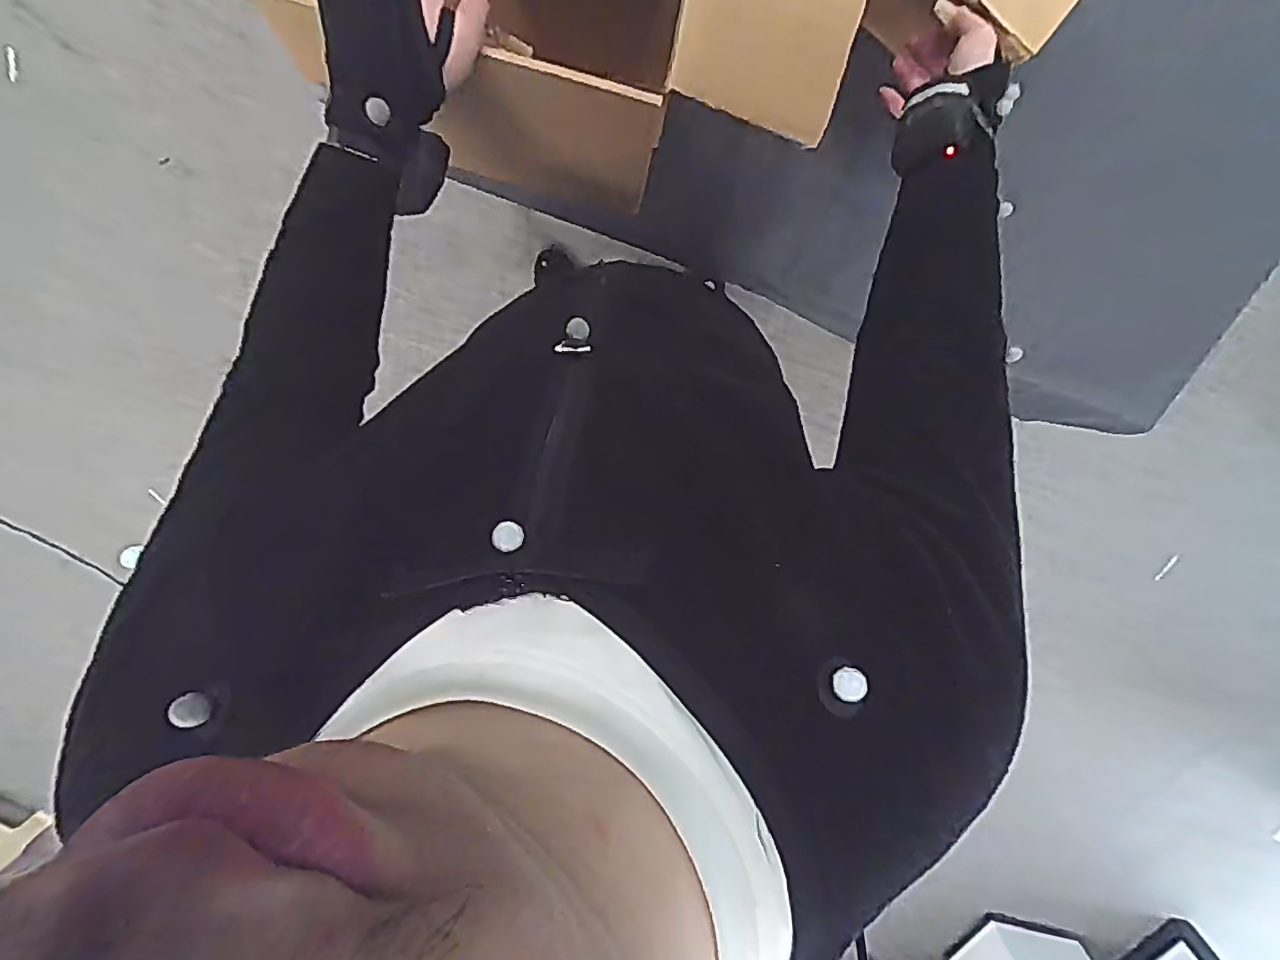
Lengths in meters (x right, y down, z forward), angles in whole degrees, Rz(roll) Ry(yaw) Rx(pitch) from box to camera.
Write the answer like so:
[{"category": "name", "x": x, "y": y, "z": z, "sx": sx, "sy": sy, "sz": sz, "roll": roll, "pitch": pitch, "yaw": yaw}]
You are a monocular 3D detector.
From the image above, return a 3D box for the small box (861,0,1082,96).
[{"category": "small box", "x": 0.353, "y": -0.535, "z": 0.544, "sx": 0.168, "sy": 0.176, "sz": 0.179, "roll": 31, "pitch": 109, "yaw": -15}]
